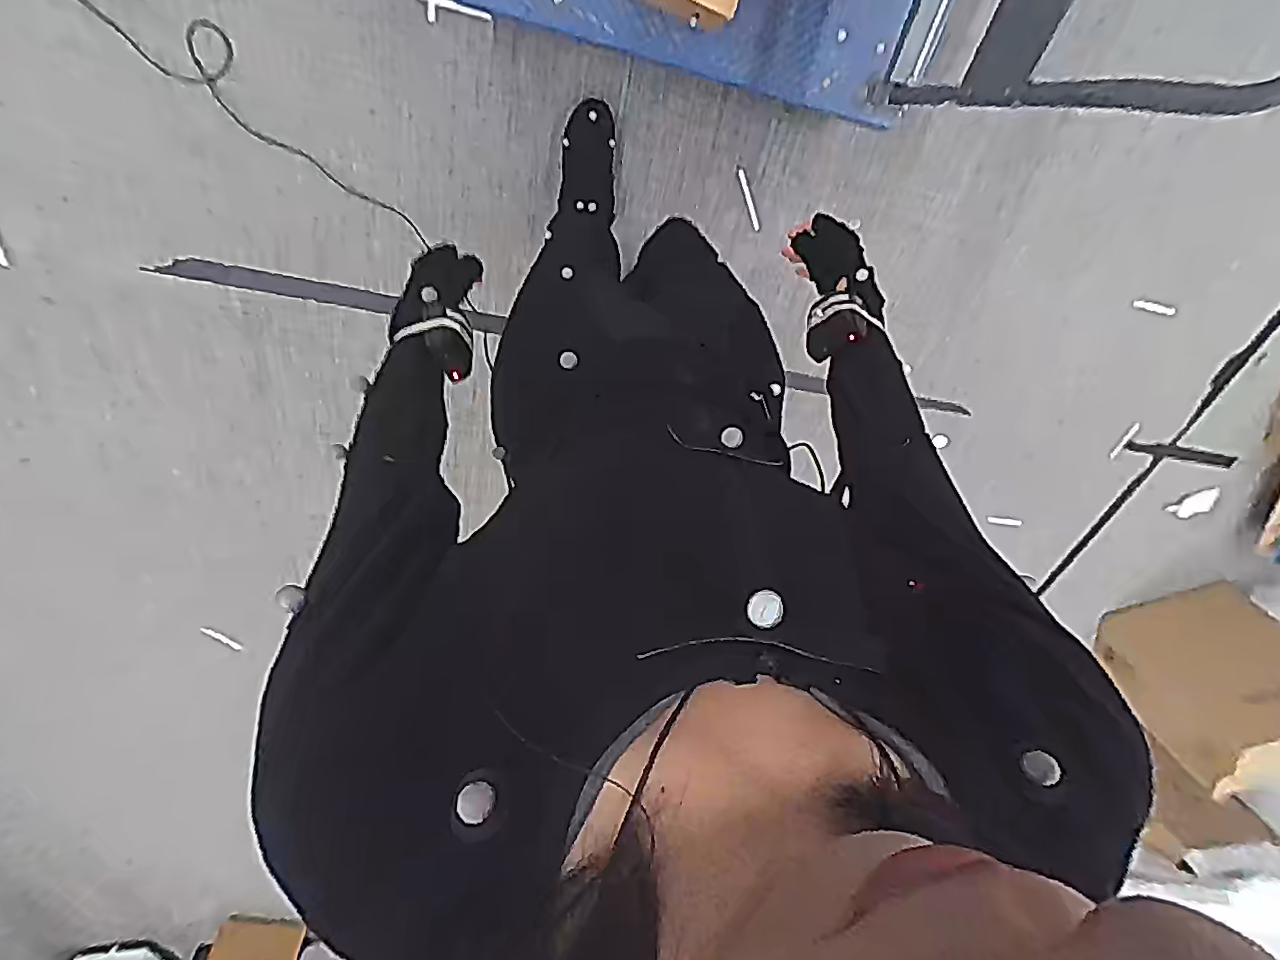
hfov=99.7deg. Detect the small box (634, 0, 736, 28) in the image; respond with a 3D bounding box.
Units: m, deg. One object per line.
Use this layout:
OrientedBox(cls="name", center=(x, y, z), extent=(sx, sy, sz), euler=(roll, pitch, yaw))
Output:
OrientedBox(cls="small box", center=(0.069, -0.815, 0.812), extent=(0.179, 0.176, 0.168), euler=(12, 120, -15))
